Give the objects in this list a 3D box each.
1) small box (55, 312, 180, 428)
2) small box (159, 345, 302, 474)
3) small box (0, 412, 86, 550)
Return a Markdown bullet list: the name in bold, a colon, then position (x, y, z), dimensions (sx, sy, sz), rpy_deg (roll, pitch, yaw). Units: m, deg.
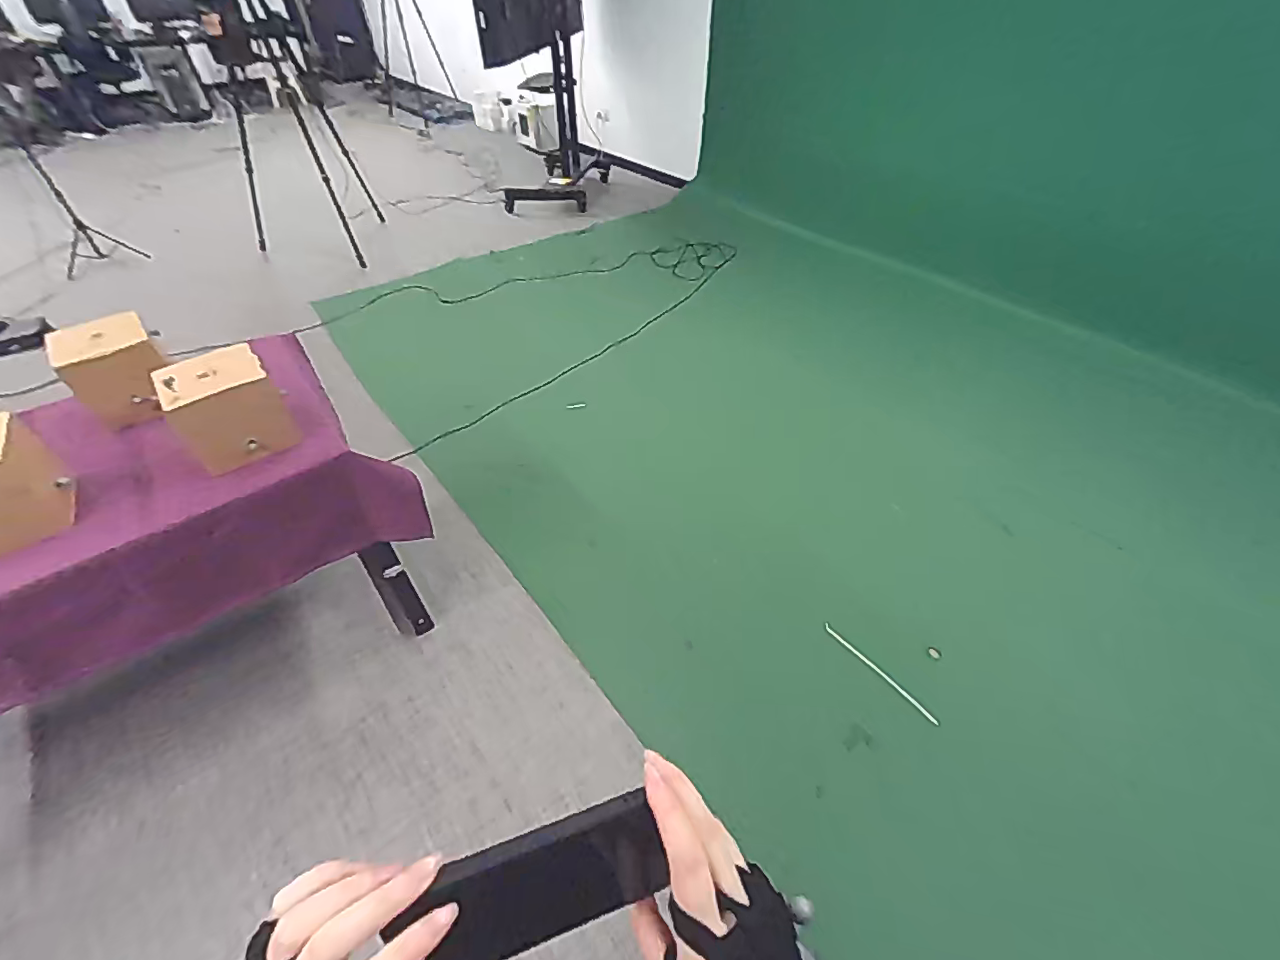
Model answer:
- **small box**: position (-1.142, -0.245, 1.210), dimensions (0.168, 0.176, 0.179), rpy_deg (-32, 53, -27)
- **small box**: position (-0.827, -0.145, 1.110), dimensions (0.179, 0.176, 0.168), rpy_deg (-30, 52, -27)
- **small box**: position (-1.146, 0.014, 0.952), dimensions (0.179, 0.176, 0.168), rpy_deg (-26, 50, -25)
